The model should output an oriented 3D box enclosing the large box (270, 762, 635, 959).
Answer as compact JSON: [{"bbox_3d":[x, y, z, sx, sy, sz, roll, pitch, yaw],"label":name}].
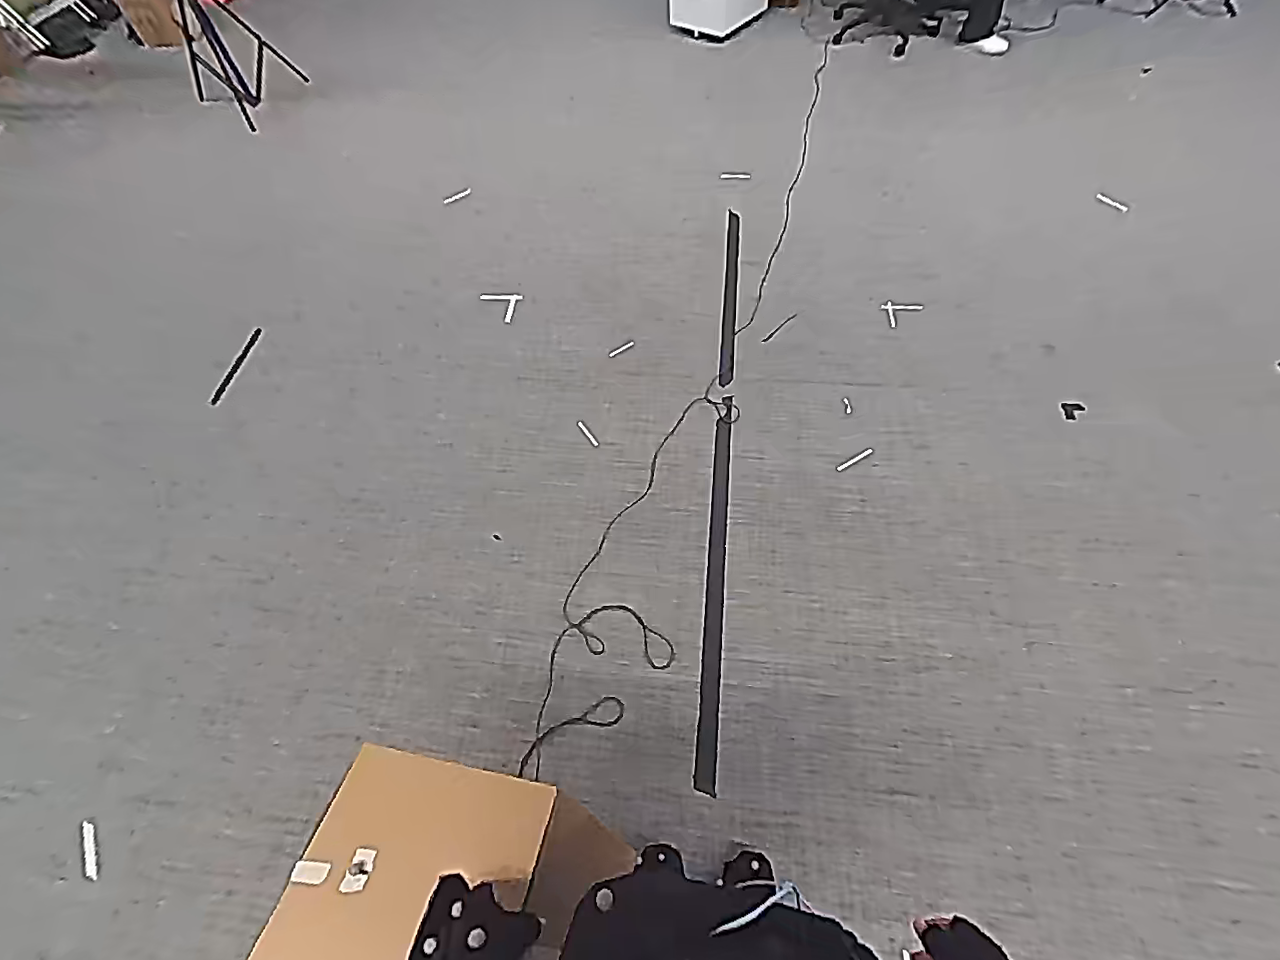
[{"bbox_3d":[-0.228,0.636,0.757,0.320,0.408,0.320,2,48,19],"label":"large box"}]
